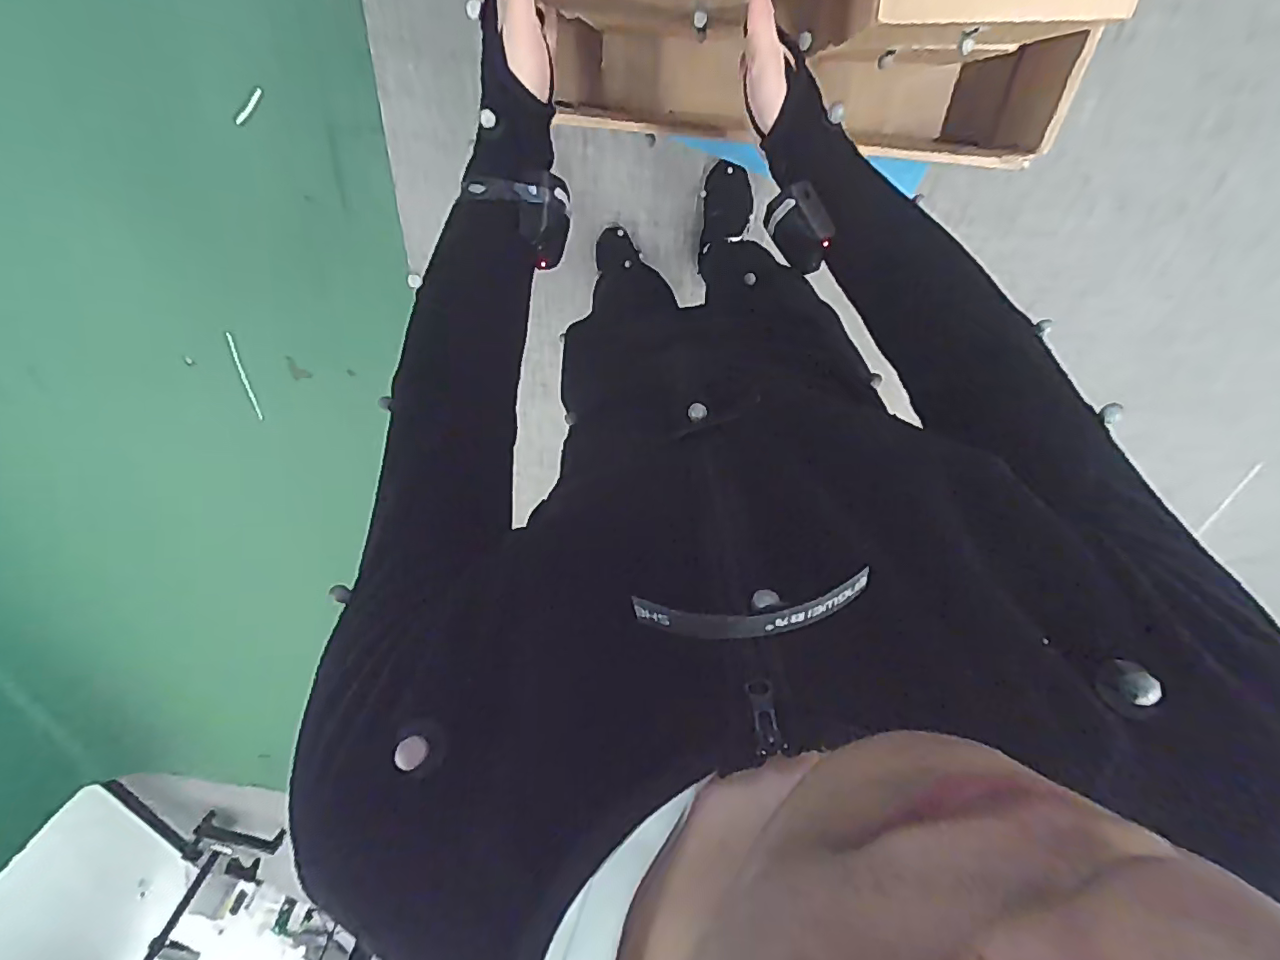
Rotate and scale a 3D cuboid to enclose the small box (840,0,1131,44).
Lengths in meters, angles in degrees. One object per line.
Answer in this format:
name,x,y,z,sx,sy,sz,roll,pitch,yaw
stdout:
small box,0.261,-0.438,0.403,0.179,0.176,0.168,4,125,6
